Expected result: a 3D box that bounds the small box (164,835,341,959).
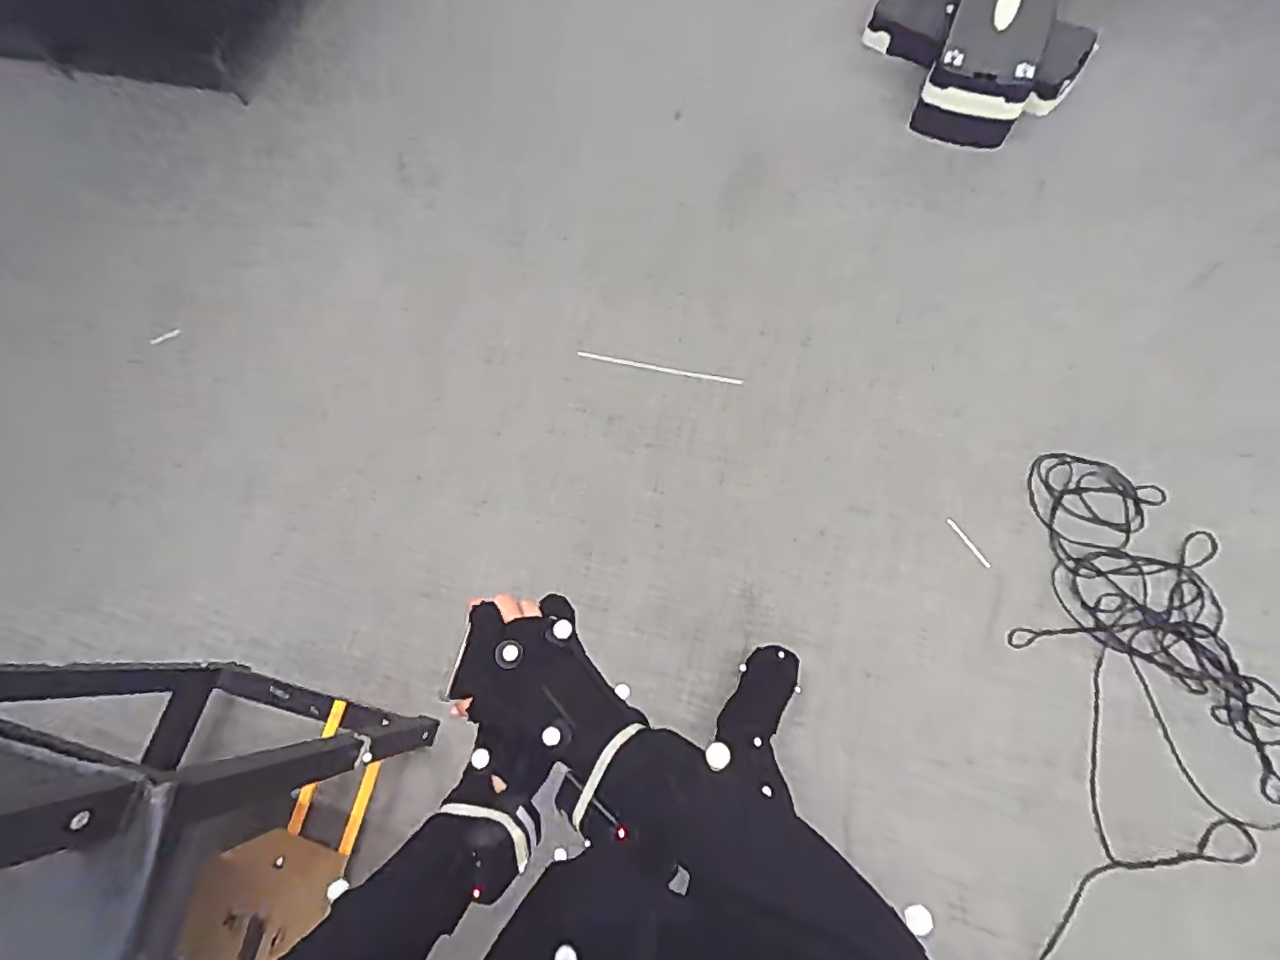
[{"bbox_3d":[-0.710,0.804,1.016,0.179,0.176,0.168,15,73,9],"label":"small box"}]
